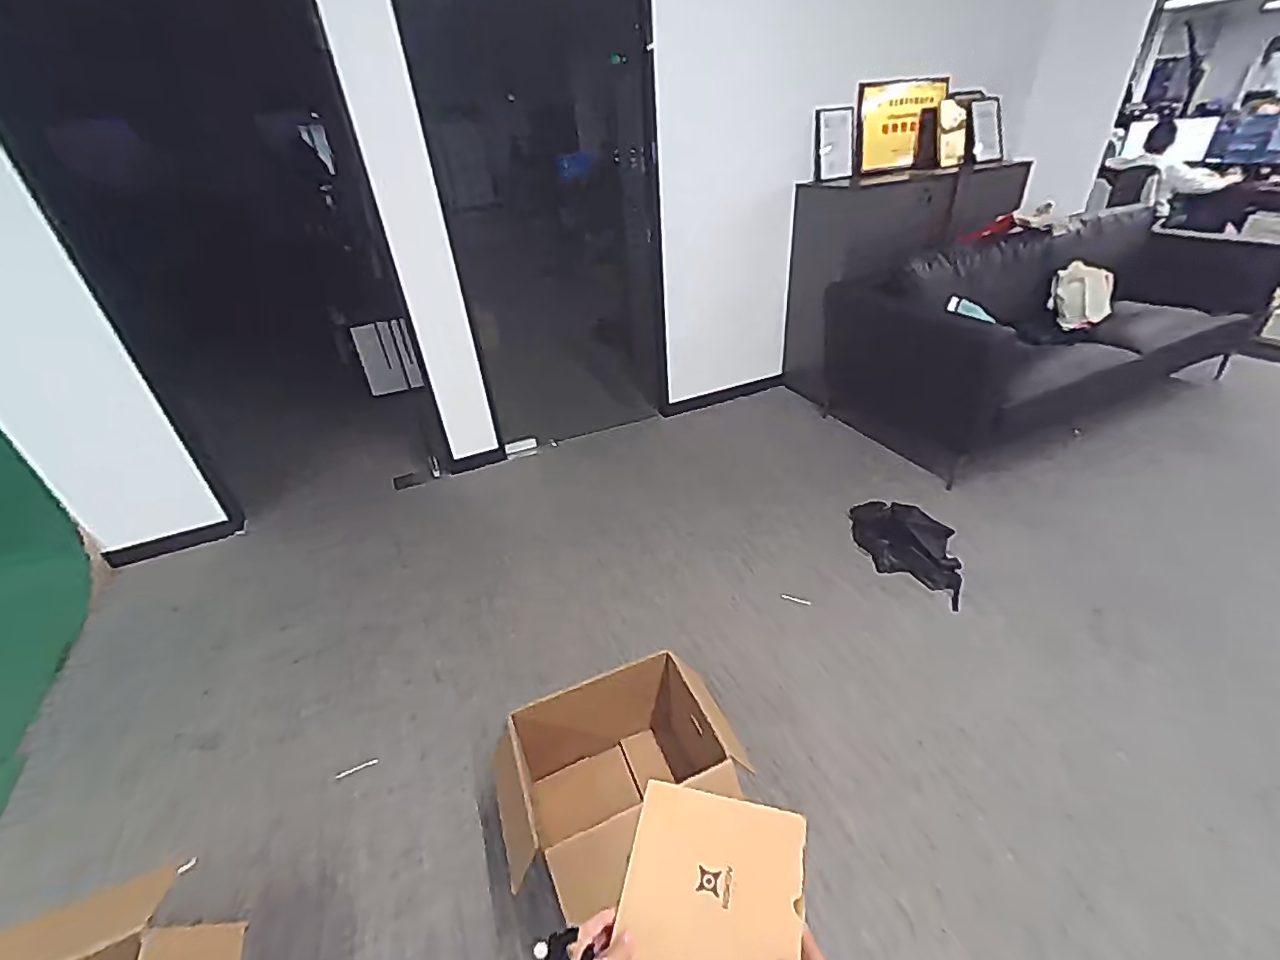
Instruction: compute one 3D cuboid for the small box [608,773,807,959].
[{"bbox_3d":[0.080,0.454,0.582,0.179,0.176,0.168,6,39,14],"label":"small box"}]
